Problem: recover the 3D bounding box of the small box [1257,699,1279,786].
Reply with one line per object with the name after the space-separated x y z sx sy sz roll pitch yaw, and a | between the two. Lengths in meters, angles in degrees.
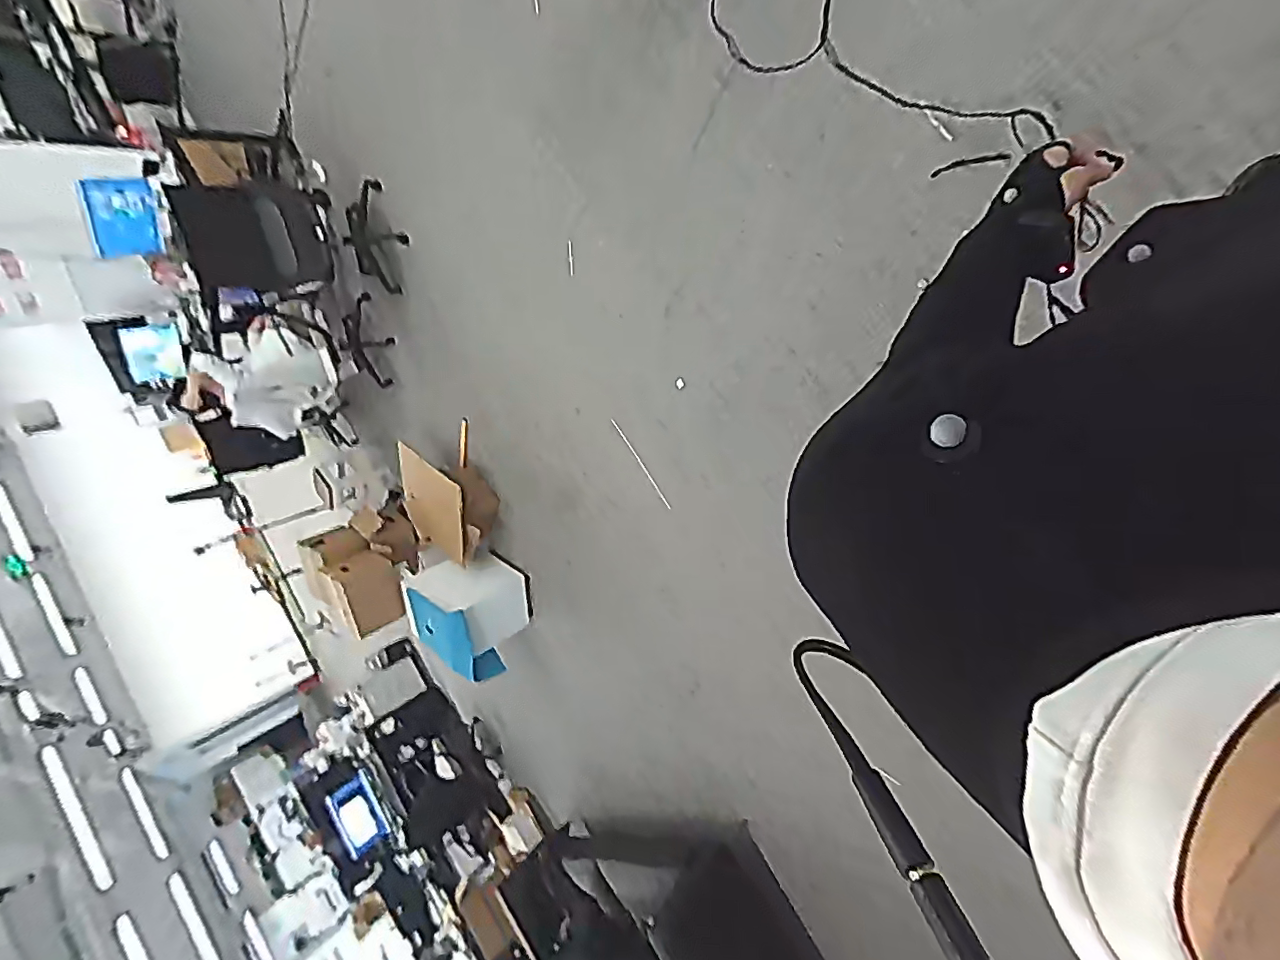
1.096 0.449 0.819 0.168 0.176 0.179 -32 86 47 | small box
